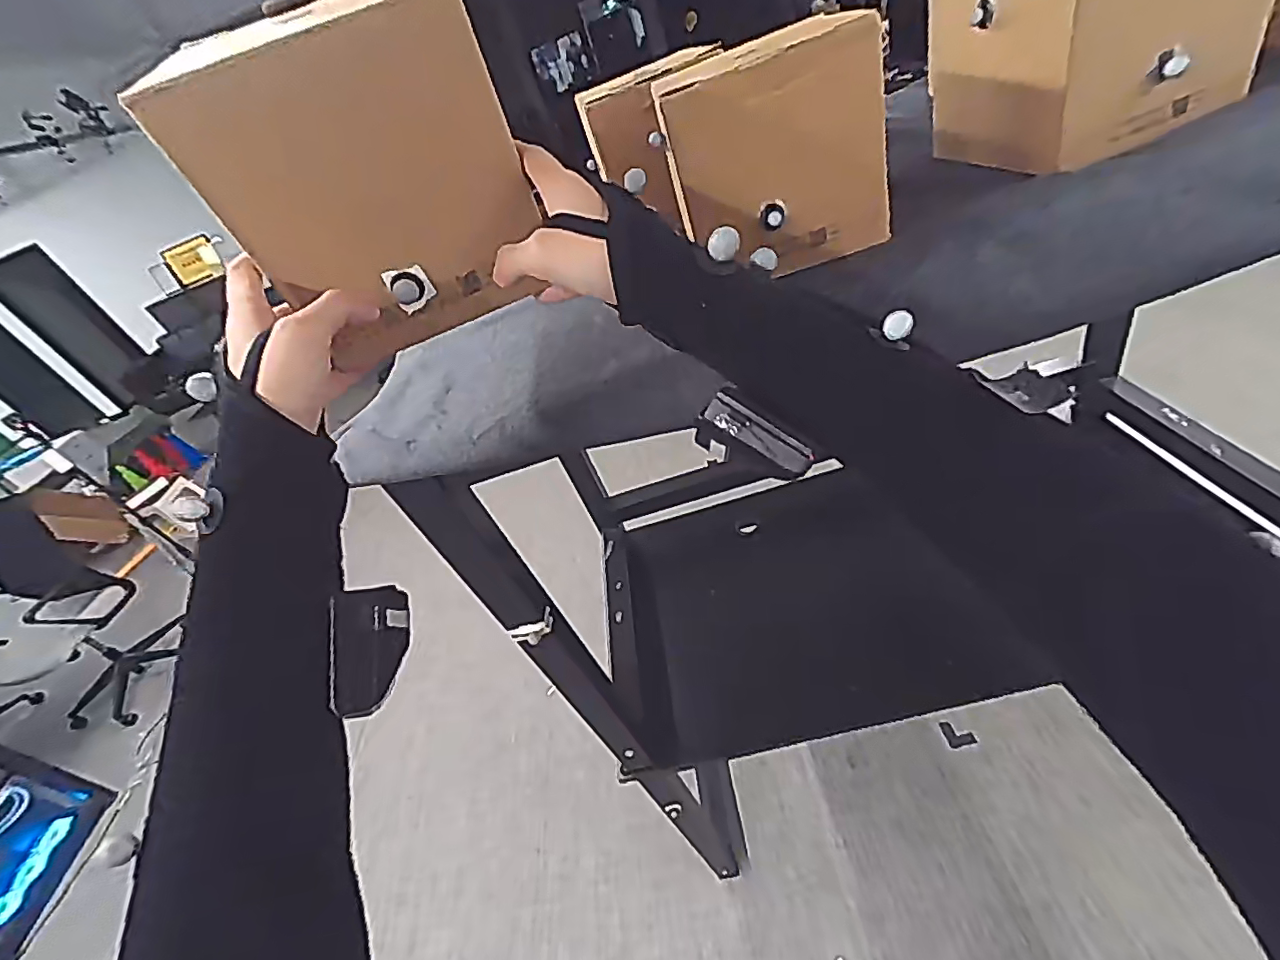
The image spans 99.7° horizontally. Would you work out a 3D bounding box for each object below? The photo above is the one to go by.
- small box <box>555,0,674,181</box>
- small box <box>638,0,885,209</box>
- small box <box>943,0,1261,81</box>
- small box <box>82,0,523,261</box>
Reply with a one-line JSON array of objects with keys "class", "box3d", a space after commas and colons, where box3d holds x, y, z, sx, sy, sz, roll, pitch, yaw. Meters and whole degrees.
[{"class": "small box", "box3d": [0.006, -0.493, 0.664, 0.168, 0.176, 0.179, -19, 38, 4]}, {"class": "small box", "box3d": [0.098, -0.359, 0.468, 0.168, 0.176, 0.179, -15, 39, 10]}, {"class": "small box", "box3d": [0.369, -0.448, 0.435, 0.168, 0.176, 0.179, -21, 39, 3]}, {"class": "small box", "box3d": [-0.191, -0.264, 0.325, 0.168, 0.176, 0.179, -26, 51, -5]}]
